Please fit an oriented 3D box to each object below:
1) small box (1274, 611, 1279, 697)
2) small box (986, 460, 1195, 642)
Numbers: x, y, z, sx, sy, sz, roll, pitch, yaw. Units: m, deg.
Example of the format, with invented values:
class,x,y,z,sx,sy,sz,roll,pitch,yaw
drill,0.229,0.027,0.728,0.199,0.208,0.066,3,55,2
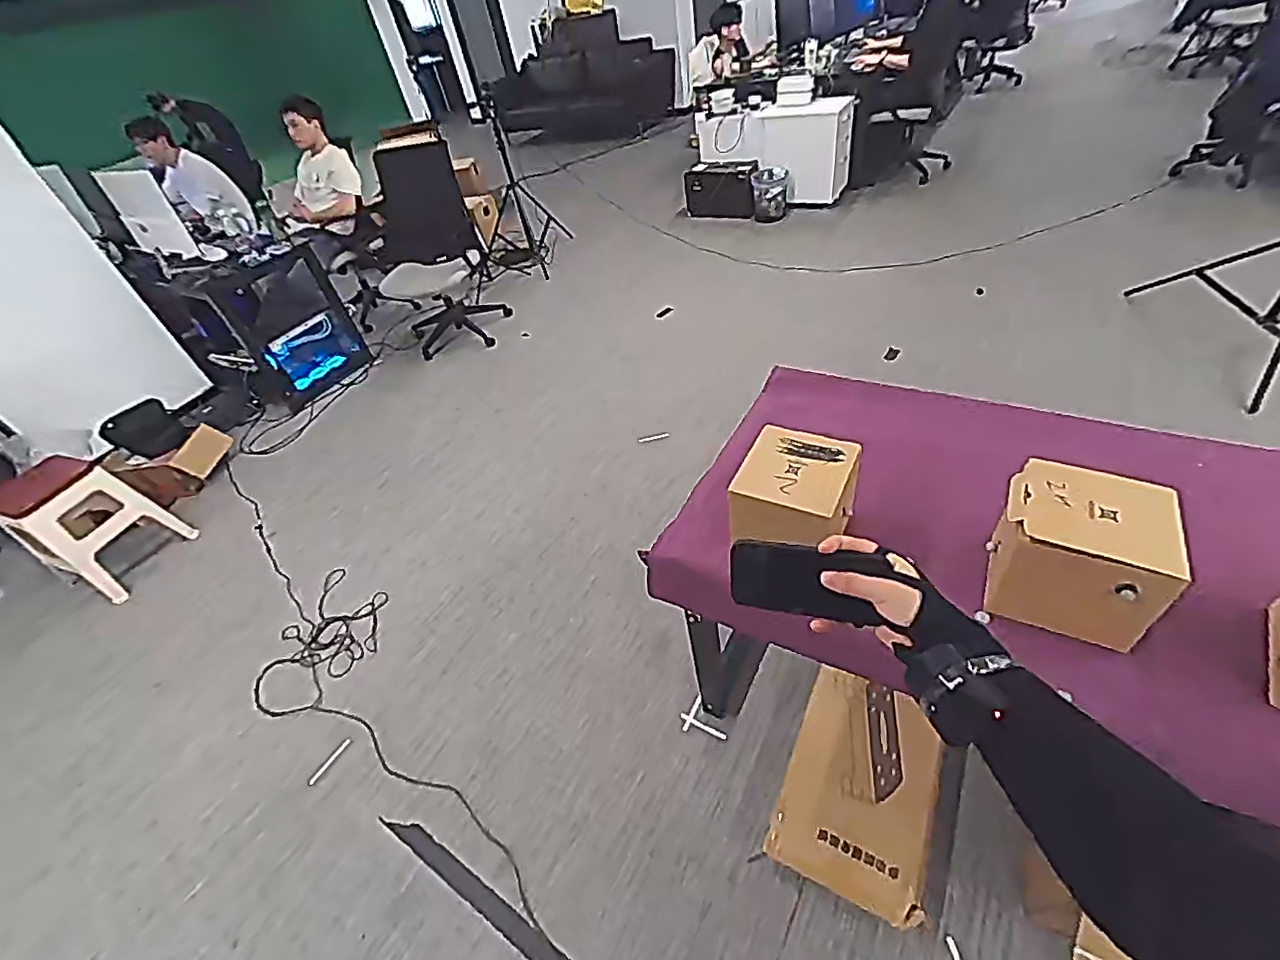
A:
class,x,y,z,sx,sy,sz,roll,pitch,yaw
small box,0.883,0.194,0.611,0.179,0.176,0.168,22,53,31
small box,0.621,0.102,0.765,0.179,0.176,0.168,15,48,27
